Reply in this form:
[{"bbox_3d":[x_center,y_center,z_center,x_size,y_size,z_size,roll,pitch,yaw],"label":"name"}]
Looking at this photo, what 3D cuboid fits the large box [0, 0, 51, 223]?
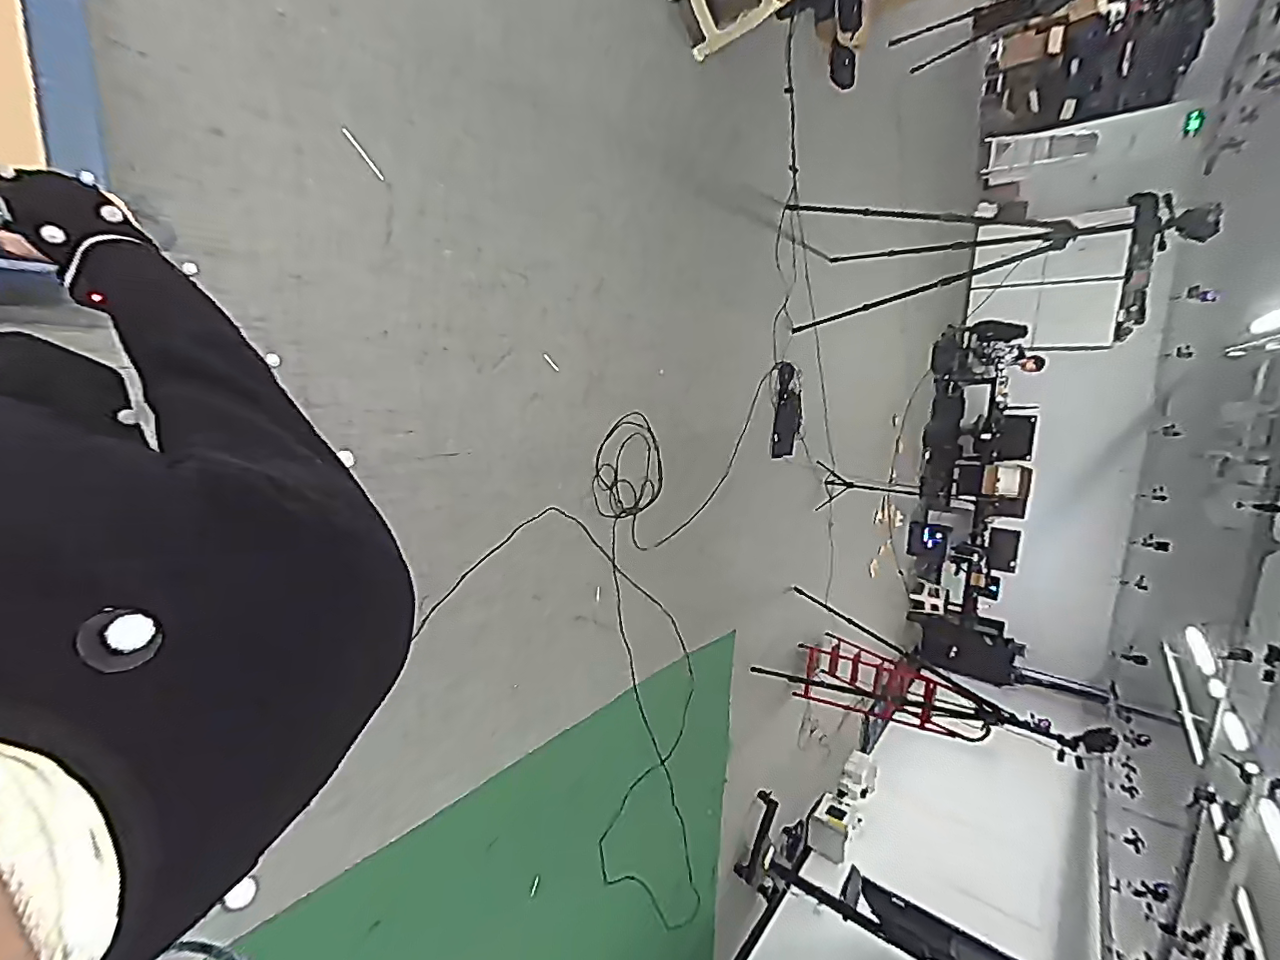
[{"bbox_3d":[-1.066,-0.610,0.724,0.320,0.320,0.408,-13,106,-50],"label":"large box"}]
